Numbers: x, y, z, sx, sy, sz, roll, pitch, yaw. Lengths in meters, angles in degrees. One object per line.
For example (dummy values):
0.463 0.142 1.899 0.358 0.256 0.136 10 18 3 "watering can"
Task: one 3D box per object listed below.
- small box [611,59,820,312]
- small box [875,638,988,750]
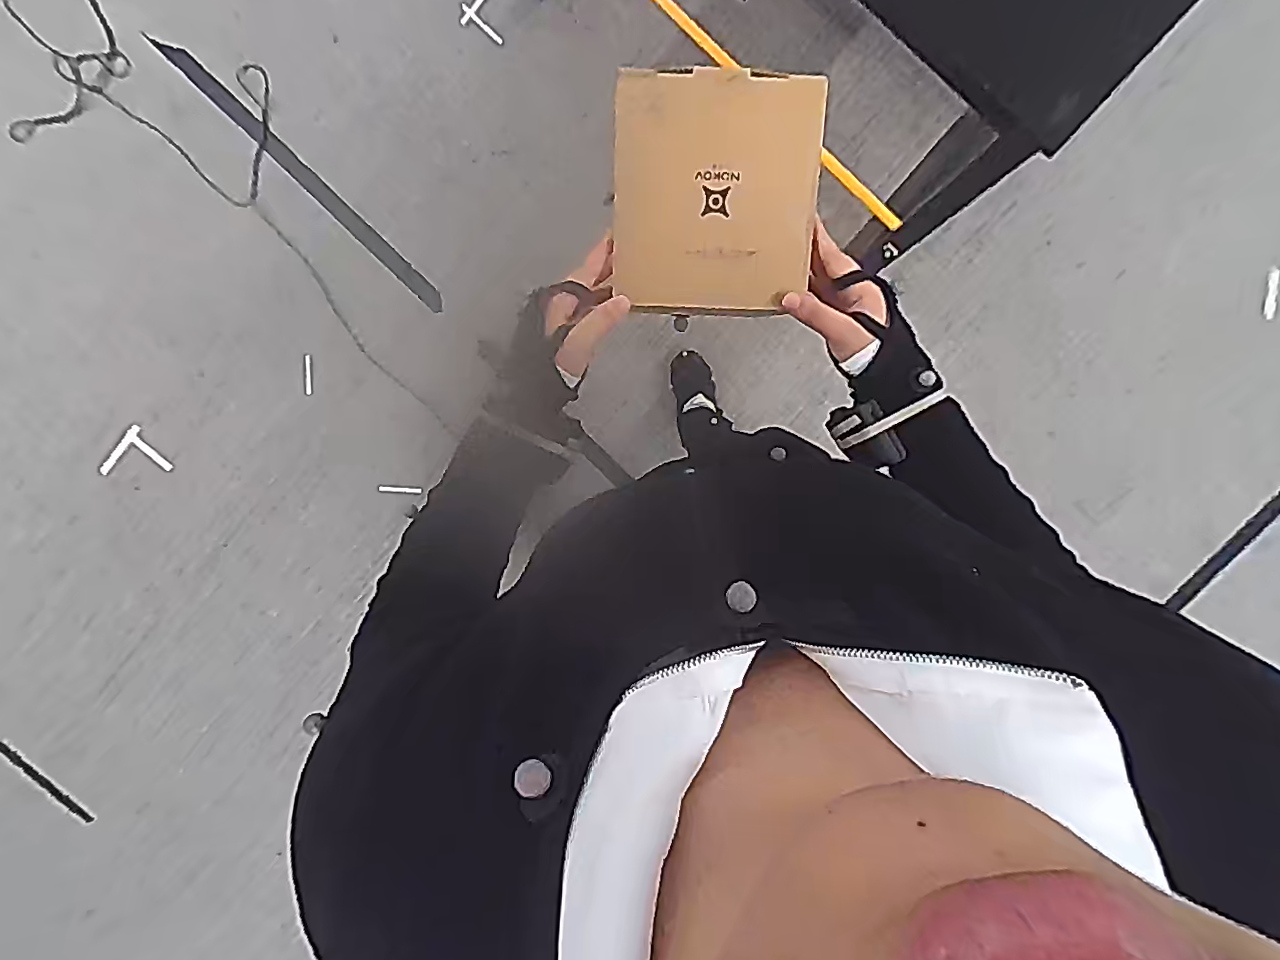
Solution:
0.056 -0.261 0.520 0.168 0.176 0.179 1 105 -1 "small box"
0.748 0.552 1.417 0.168 0.176 0.179 44 94 -2 "small box"
